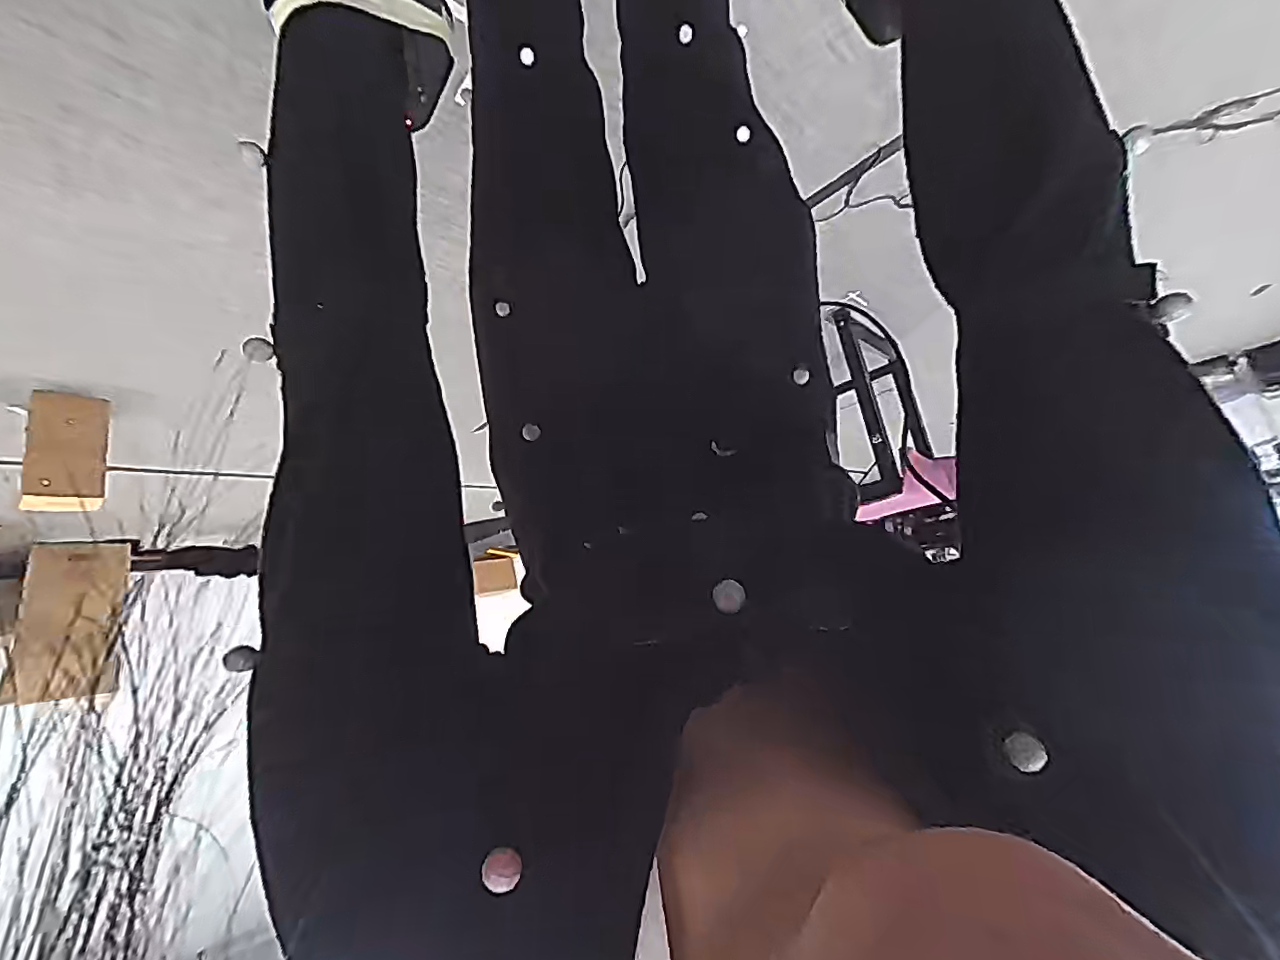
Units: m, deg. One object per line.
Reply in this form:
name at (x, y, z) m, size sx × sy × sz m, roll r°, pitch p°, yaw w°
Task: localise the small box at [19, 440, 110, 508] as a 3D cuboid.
small box at (-1.787, -0.017, 1.681) m, size 0.168 × 0.176 × 0.179 m, roll -20°, pitch 164°, yaw 37°
